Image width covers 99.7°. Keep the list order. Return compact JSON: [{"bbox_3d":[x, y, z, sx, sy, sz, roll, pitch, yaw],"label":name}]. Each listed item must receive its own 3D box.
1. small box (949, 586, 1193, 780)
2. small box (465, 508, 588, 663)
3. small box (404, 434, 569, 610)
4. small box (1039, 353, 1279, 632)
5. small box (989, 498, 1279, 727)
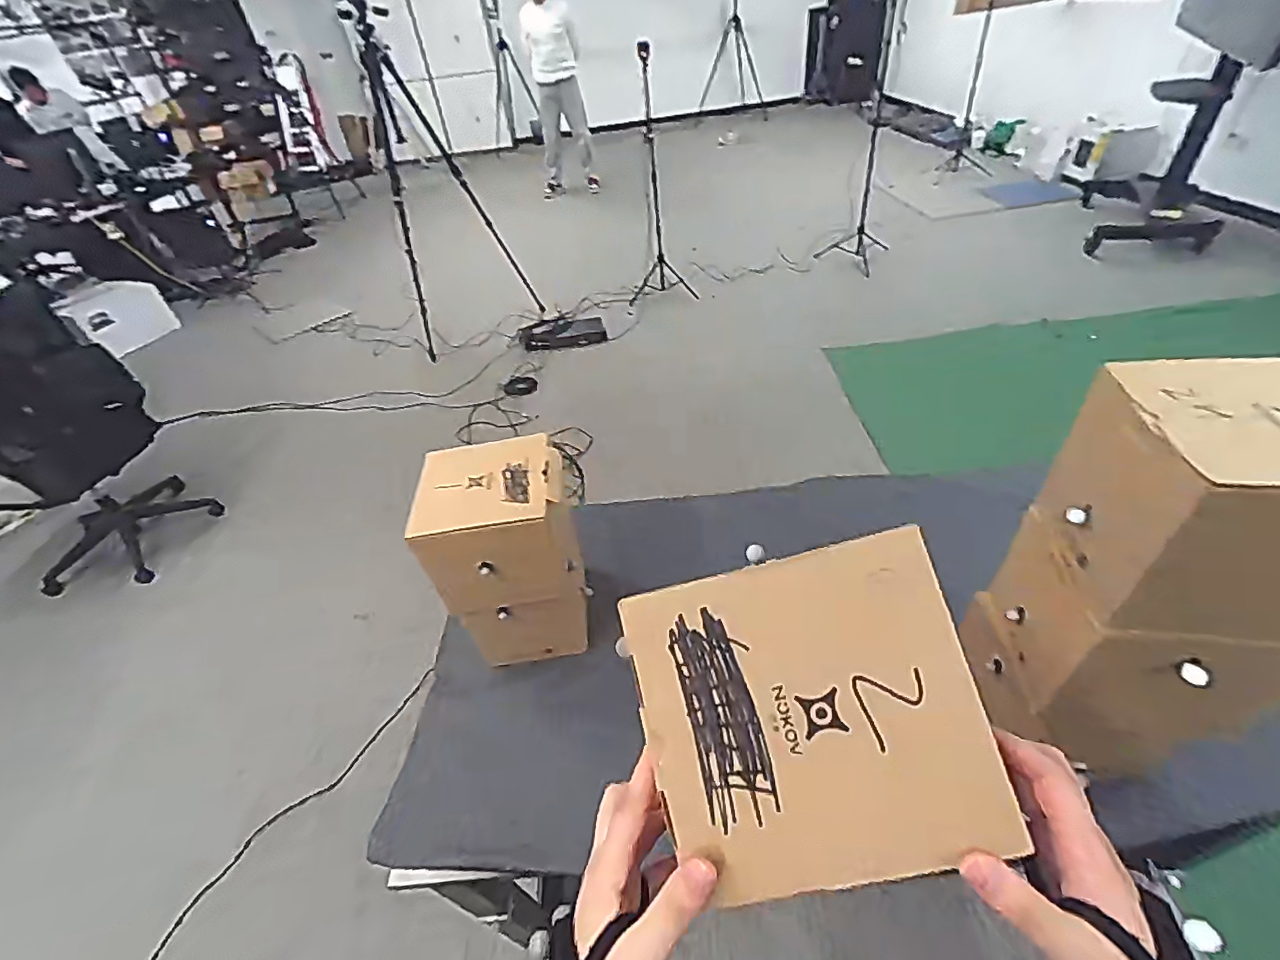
[{"bbox_3d":[0.520,0.247,0.675,0.168,0.176,0.179,-7,42,4],"label":"small box"},{"bbox_3d":[-0.181,0.170,0.883,0.168,0.176,0.179,-9,43,-1],"label":"small box"},{"bbox_3d":[-0.198,0.061,0.760,0.179,0.176,0.168,-9,43,0],"label":"small box"},{"bbox_3d":[0.483,0.010,0.451,0.179,0.176,0.168,1,41,13],"label":"small box"},{"bbox_3d":[0.500,0.135,0.557,0.179,0.176,0.168,0,42,12],"label":"small box"}]
